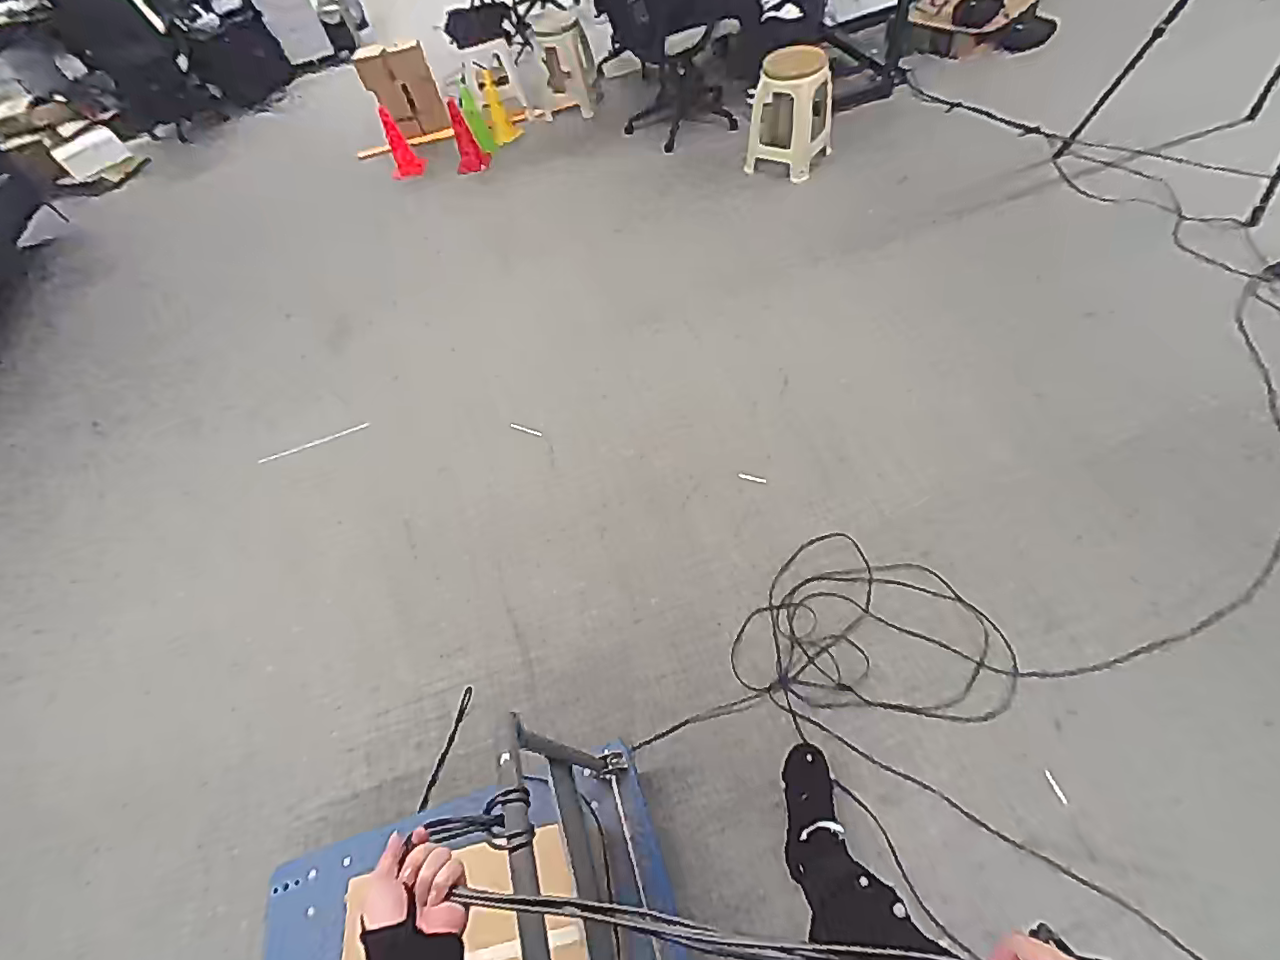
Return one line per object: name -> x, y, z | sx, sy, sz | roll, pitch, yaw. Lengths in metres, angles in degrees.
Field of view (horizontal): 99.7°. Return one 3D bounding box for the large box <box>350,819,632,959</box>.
large box -> -0.248, 0.846, 0.982 | 0.408, 0.320, 0.320 | -16, 56, 1
